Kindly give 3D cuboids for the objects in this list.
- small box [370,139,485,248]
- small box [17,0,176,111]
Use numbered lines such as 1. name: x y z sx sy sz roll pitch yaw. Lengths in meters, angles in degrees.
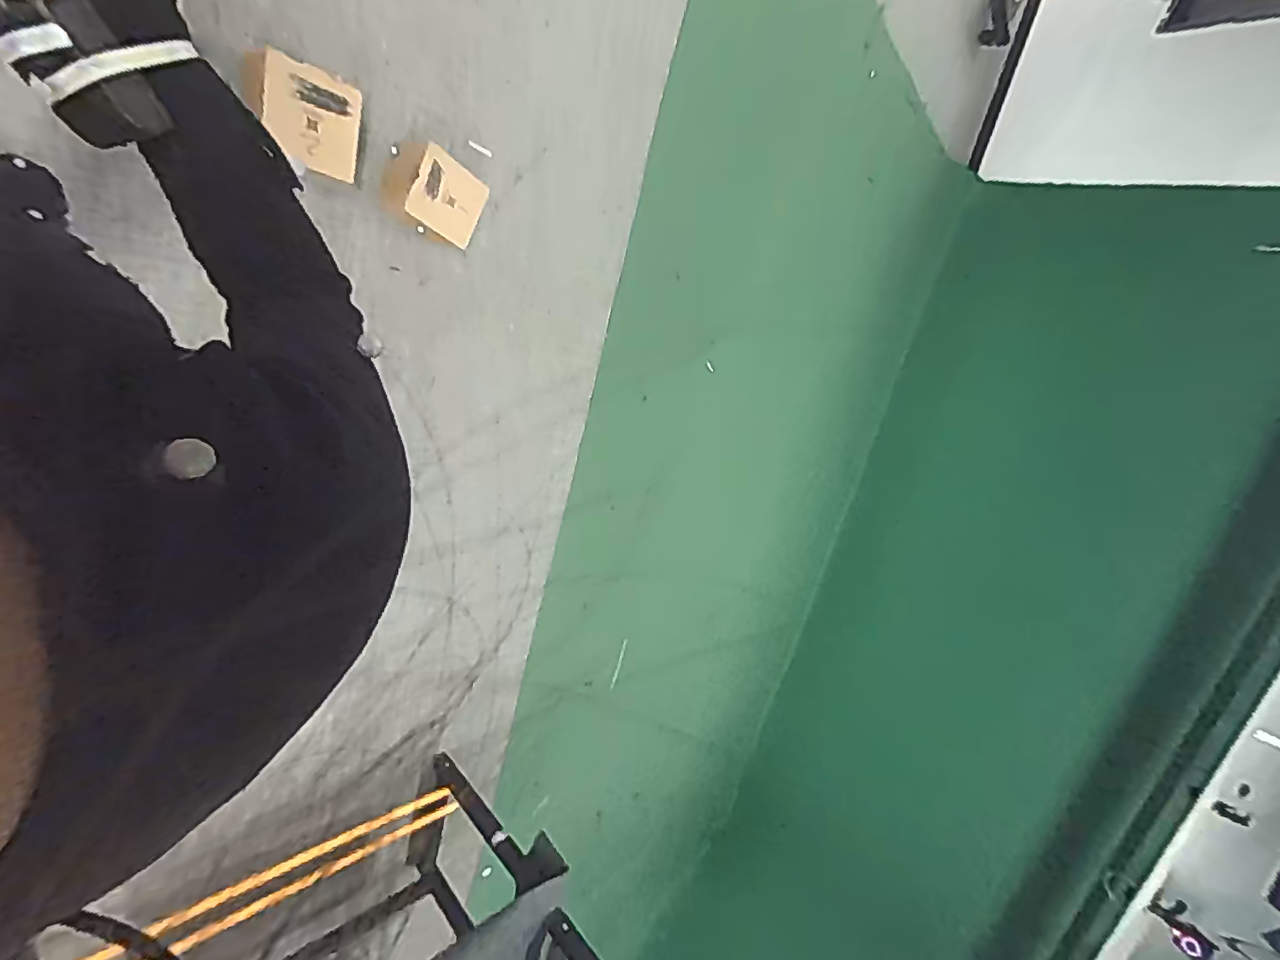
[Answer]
1. small box: -0.520 -0.692 1.316 0.179 0.176 0.168 21 94 -54
2. small box: -0.877 -0.733 0.872 0.168 0.176 0.179 -1 111 -49
